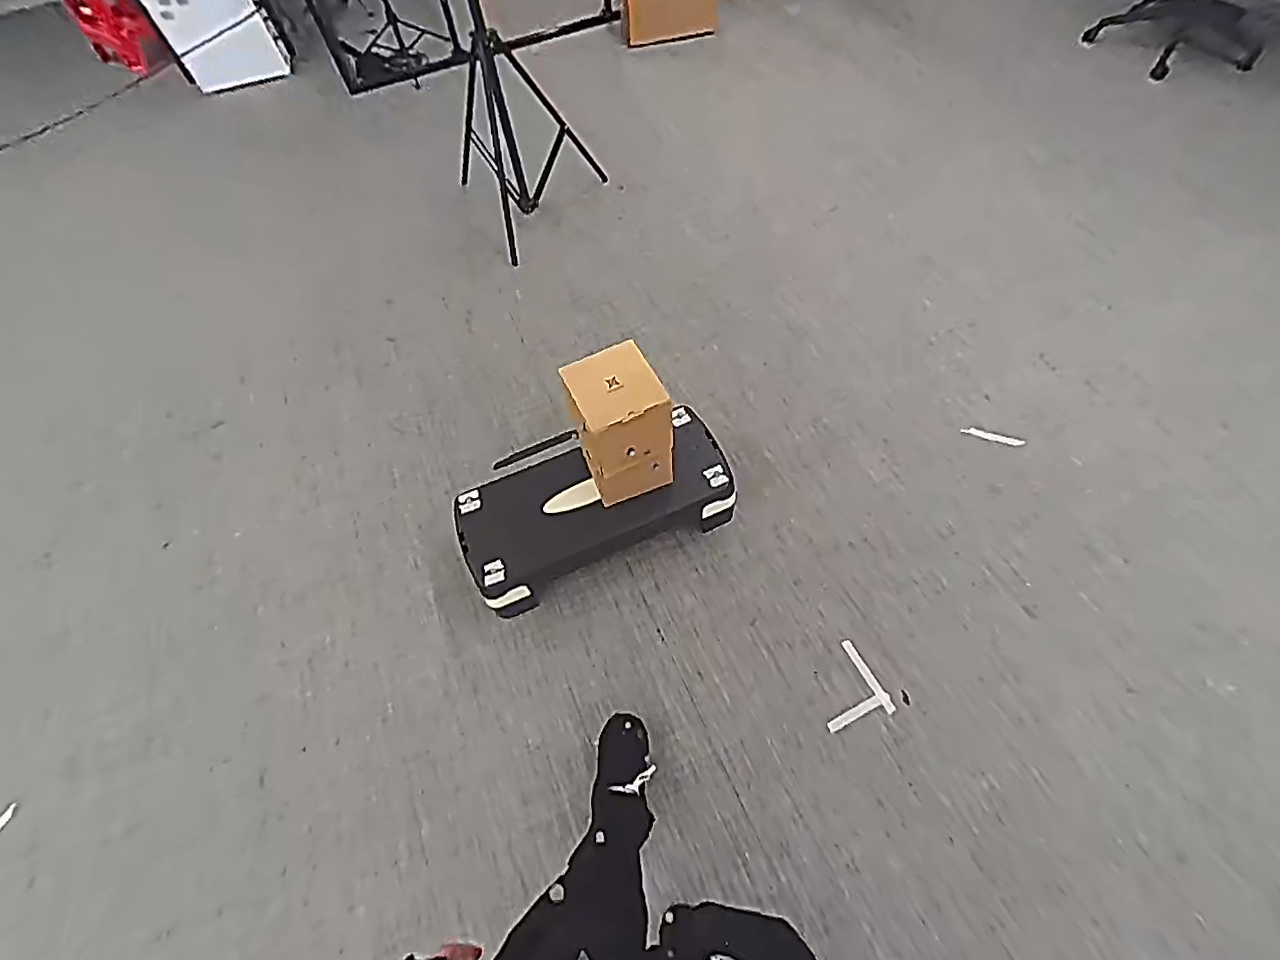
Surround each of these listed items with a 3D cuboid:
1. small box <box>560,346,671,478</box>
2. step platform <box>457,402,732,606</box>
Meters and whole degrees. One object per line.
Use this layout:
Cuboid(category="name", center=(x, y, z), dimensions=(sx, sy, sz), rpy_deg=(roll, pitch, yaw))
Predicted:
Cuboid(category="small box", center=(-0.049, -0.137, 1.112), dimensions=(0.168, 0.176, 0.179), rpy_deg=(-25, 62, -11))
Cuboid(category="step platform", center=(-0.110, 0.052, 1.396), dimensions=(0.684, 0.204, 0.286), rpy_deg=(-23, 61, -8))
